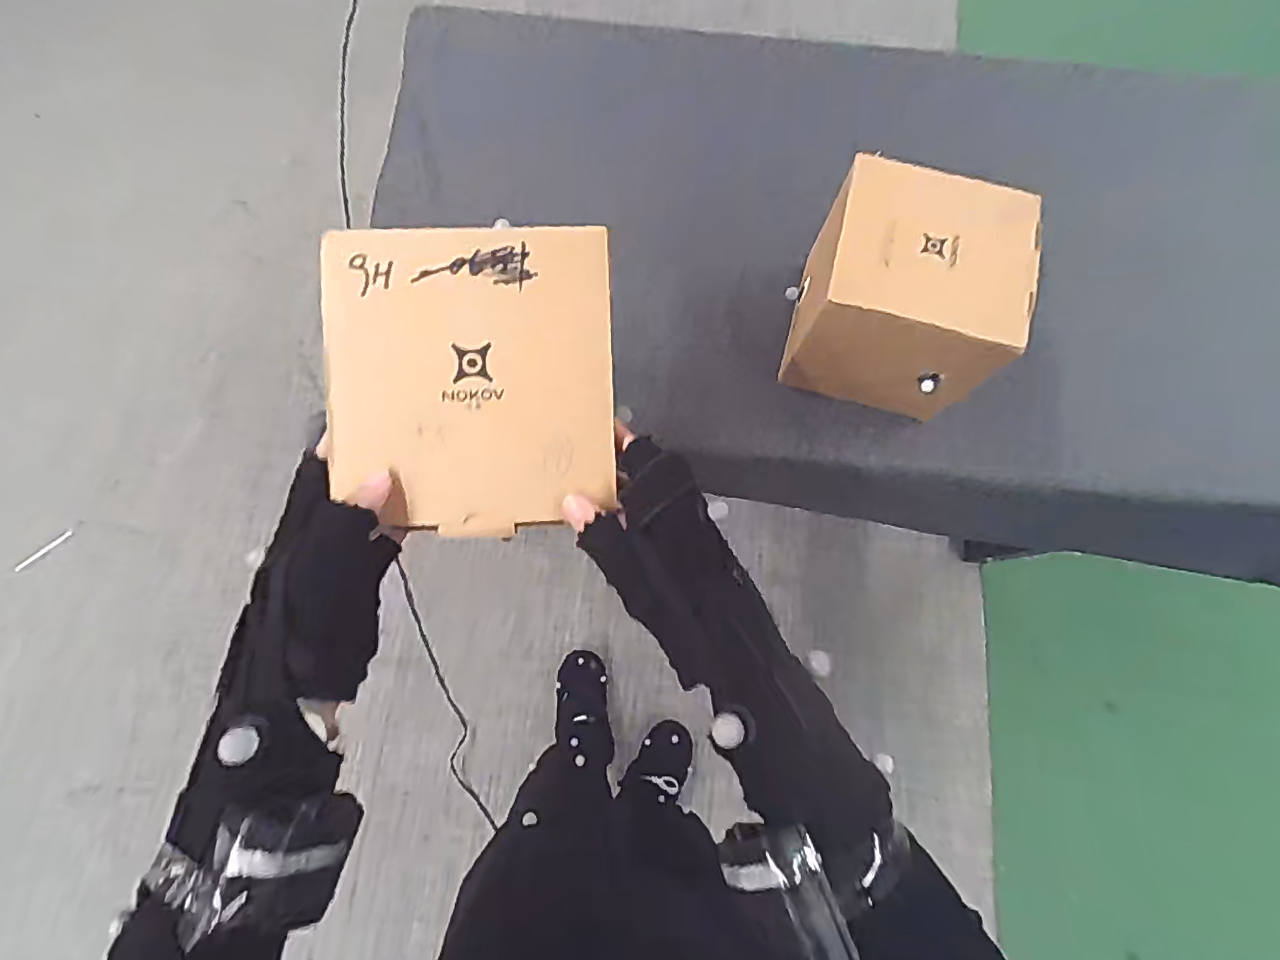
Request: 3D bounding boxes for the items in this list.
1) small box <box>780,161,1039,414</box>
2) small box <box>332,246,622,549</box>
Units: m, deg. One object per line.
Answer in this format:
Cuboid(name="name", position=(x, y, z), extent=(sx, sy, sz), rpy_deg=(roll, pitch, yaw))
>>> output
Cuboid(name="small box", position=(0.266, -0.185, 0.567), extent=(0.179, 0.176, 0.168), rpy_deg=(16, 75, 4))
Cuboid(name="small box", position=(-0.097, -0.051, 0.396), extent=(0.168, 0.176, 0.179), rpy_deg=(-2, 91, -3))
